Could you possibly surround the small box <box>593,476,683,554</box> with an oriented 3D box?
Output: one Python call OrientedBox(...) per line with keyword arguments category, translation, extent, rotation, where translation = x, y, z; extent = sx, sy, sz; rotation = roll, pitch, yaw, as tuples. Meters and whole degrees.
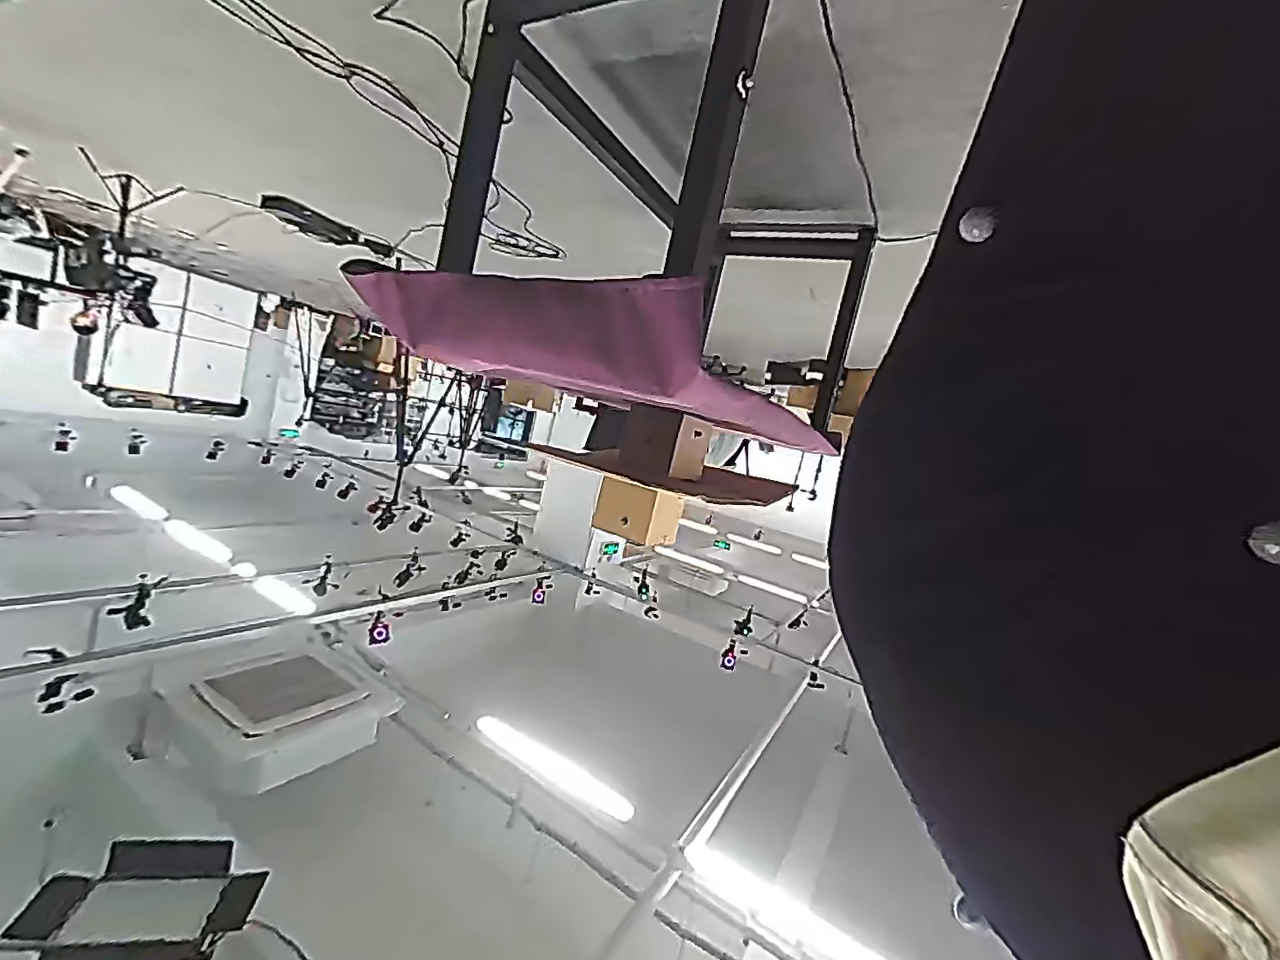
OrientedBox(category="small box", translation=(0.002, 0.091, 1.452), extent=(0.179, 0.176, 0.168), rotation=(16, -177, 31))
